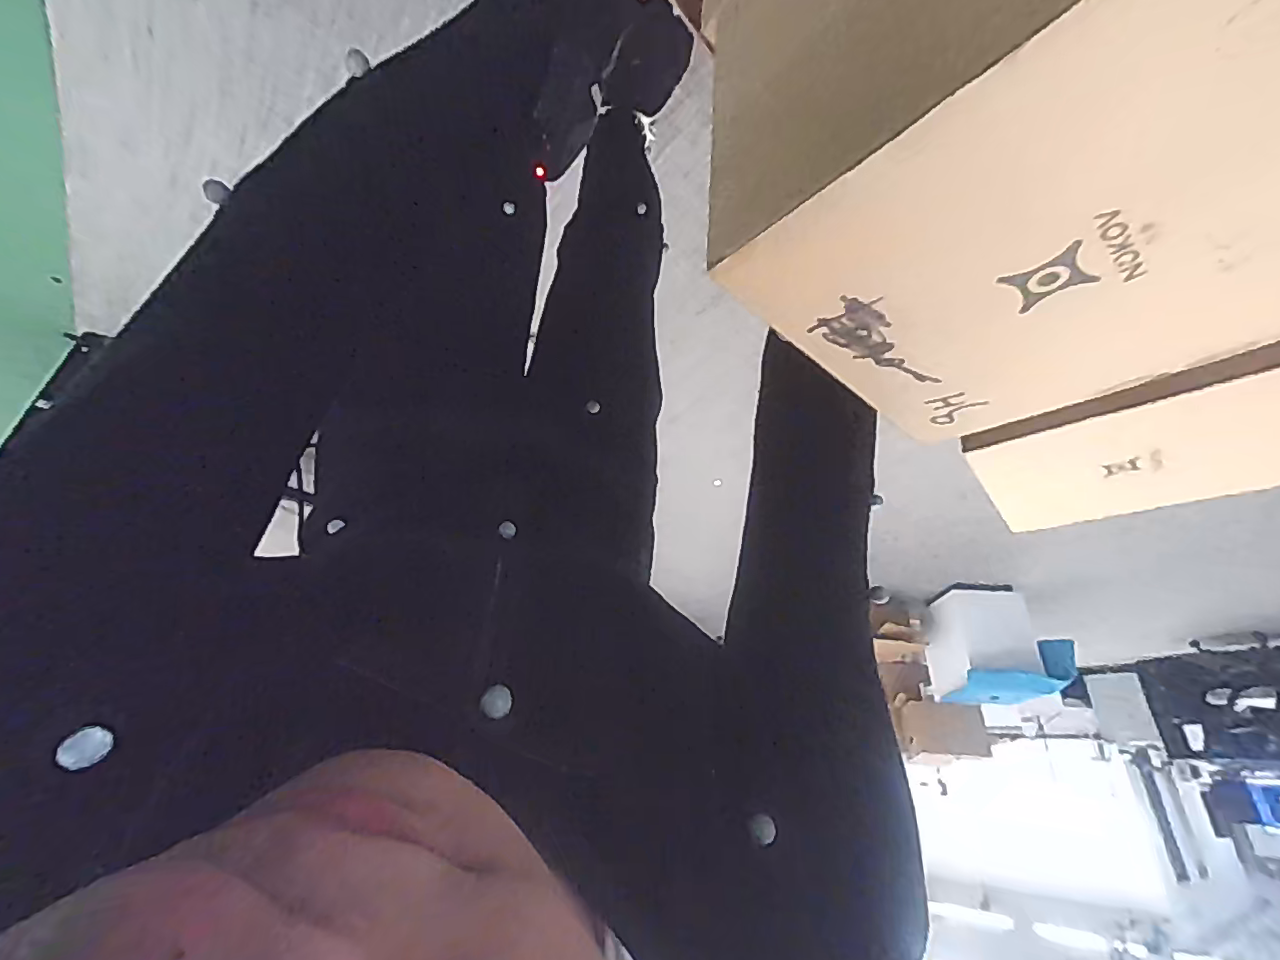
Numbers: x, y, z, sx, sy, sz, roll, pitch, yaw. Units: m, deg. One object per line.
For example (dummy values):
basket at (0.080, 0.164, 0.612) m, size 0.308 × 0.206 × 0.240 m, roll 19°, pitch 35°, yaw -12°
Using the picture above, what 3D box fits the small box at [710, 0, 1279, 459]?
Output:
small box at (0.143, -0.135, 0.211) m, size 0.168 × 0.176 × 0.179 m, roll 25°, pitch 148°, yaw -33°

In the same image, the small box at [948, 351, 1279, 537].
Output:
small box at (0.343, -0.077, 0.423) m, size 0.179 × 0.176 × 0.168 m, roll -21°, pitch 142°, yaw 37°
